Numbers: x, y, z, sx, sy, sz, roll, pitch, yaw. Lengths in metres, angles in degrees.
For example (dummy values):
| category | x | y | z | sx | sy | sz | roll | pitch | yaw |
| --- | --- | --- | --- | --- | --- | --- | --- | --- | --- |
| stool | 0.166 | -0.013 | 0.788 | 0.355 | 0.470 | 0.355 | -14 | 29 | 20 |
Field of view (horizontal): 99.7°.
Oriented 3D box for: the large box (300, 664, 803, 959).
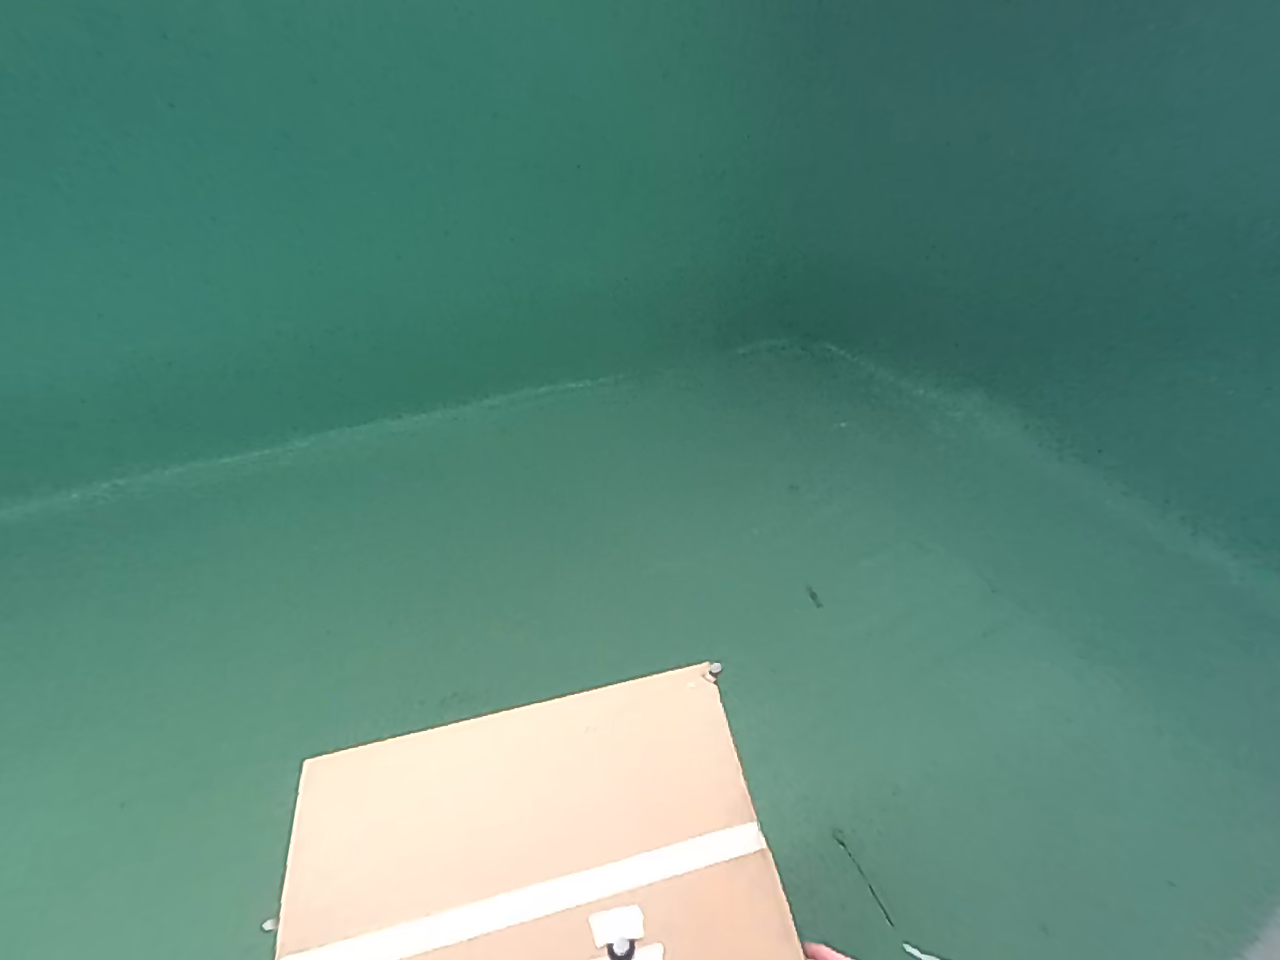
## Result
| category | x | y | z | sx | sy | sz | roll | pitch | yaw |
| --- | --- | --- | --- | --- | --- | --- | --- | --- | --- |
| large box | -0.083 | 0.443 | 0.580 | 0.408 | 0.320 | 0.320 | -10 | 53 | -7 |
